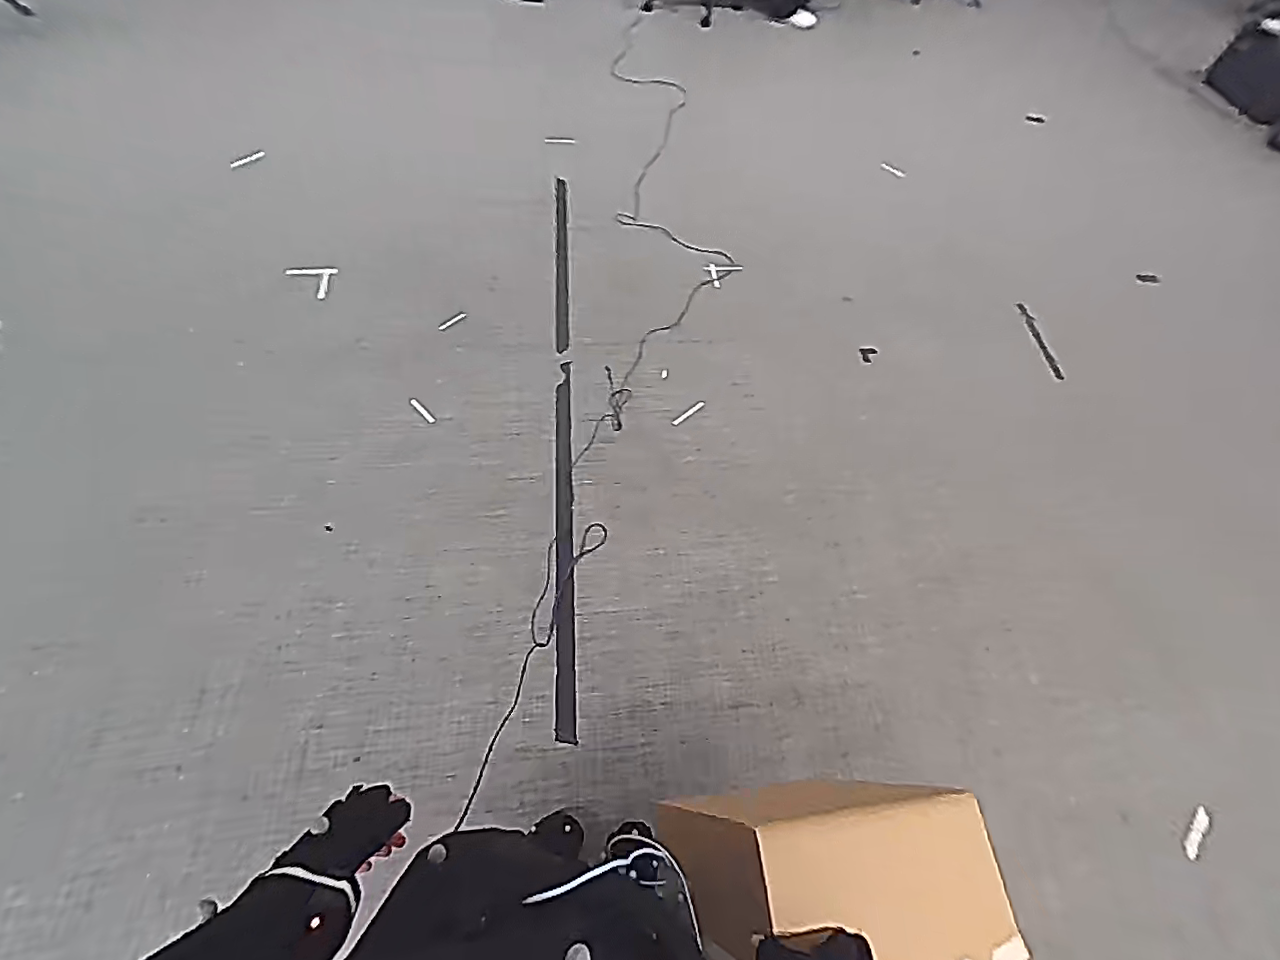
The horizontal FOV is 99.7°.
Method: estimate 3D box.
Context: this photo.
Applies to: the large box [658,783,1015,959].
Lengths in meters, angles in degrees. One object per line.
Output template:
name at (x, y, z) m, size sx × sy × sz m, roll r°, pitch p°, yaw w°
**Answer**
large box at (0.242, 0.625, 0.762) m, size 0.320 × 0.408 × 0.320 m, roll 0°, pitch 63°, yaw -15°
